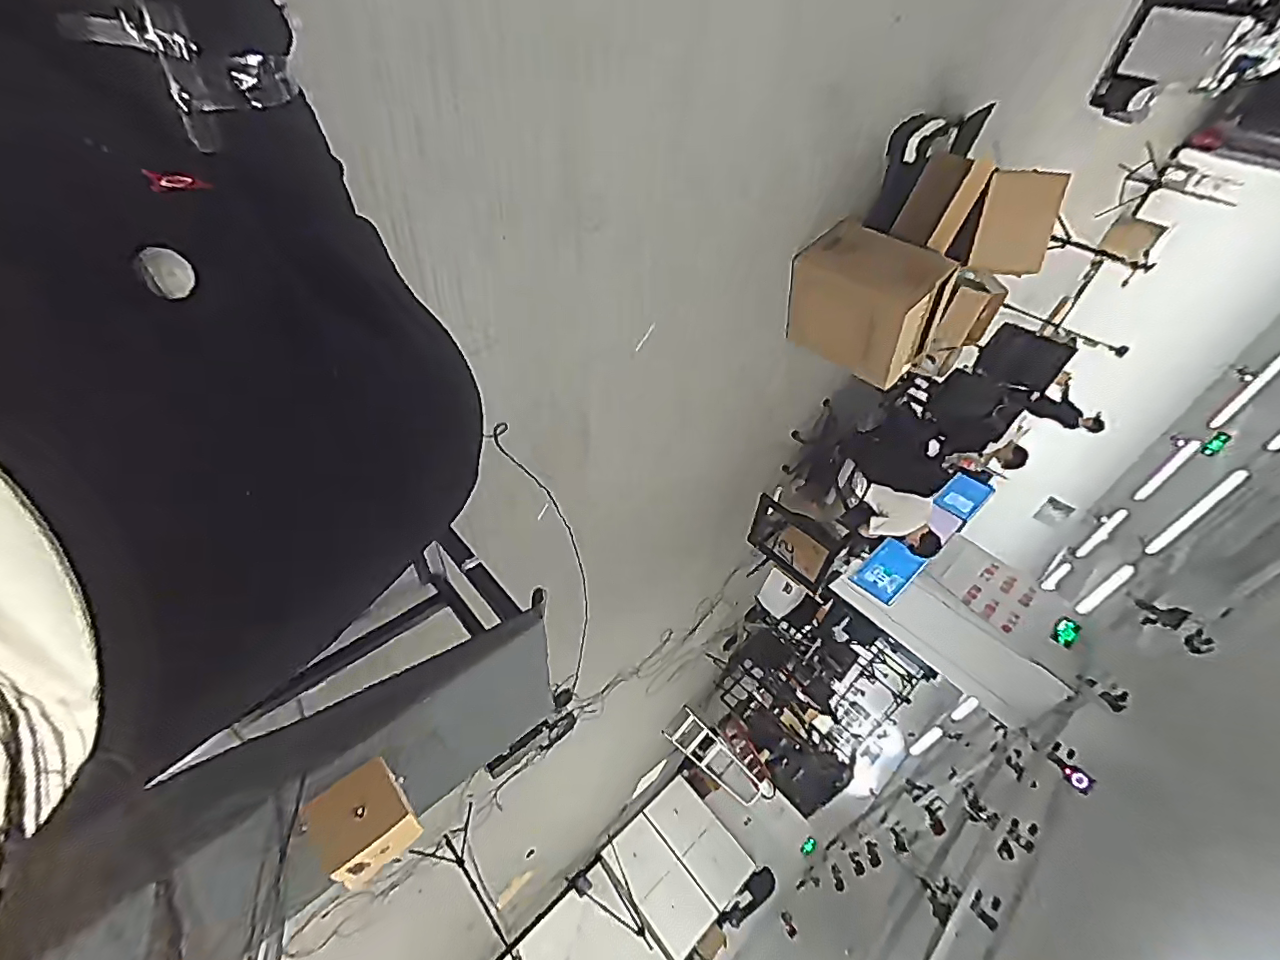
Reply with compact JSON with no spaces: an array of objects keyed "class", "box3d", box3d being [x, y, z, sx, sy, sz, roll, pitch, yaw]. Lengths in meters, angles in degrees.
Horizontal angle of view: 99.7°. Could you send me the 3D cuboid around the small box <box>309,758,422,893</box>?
[{"class":"small box","box3d":[-0.627,0.782,1.234,0.179,0.176,0.168,-28,146,-34]}]
